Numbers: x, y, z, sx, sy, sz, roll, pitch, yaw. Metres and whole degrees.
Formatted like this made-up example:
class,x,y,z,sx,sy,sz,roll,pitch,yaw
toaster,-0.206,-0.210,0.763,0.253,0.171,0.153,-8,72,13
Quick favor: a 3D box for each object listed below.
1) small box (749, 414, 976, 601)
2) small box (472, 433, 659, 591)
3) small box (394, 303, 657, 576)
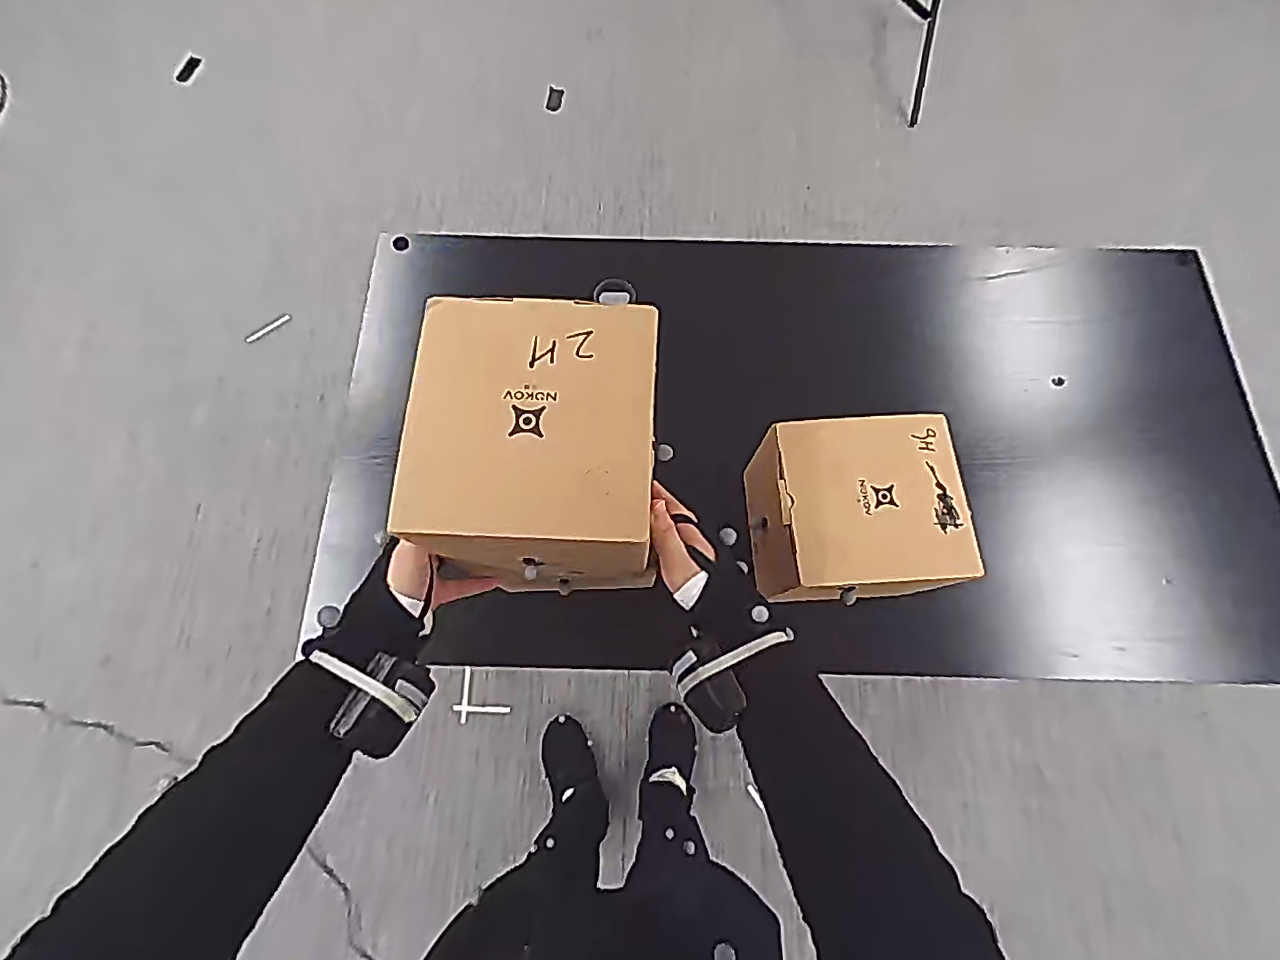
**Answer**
class,x,y,z,sx,sy,sz,roll,pitch,yaw
small box,0.223,0.040,0.601,0.179,0.176,0.168,-3,72,0
small box,-0.073,0.031,0.602,0.179,0.176,0.168,-2,72,0
small box,-0.073,-0.019,0.445,0.168,0.176,0.179,3,72,0
